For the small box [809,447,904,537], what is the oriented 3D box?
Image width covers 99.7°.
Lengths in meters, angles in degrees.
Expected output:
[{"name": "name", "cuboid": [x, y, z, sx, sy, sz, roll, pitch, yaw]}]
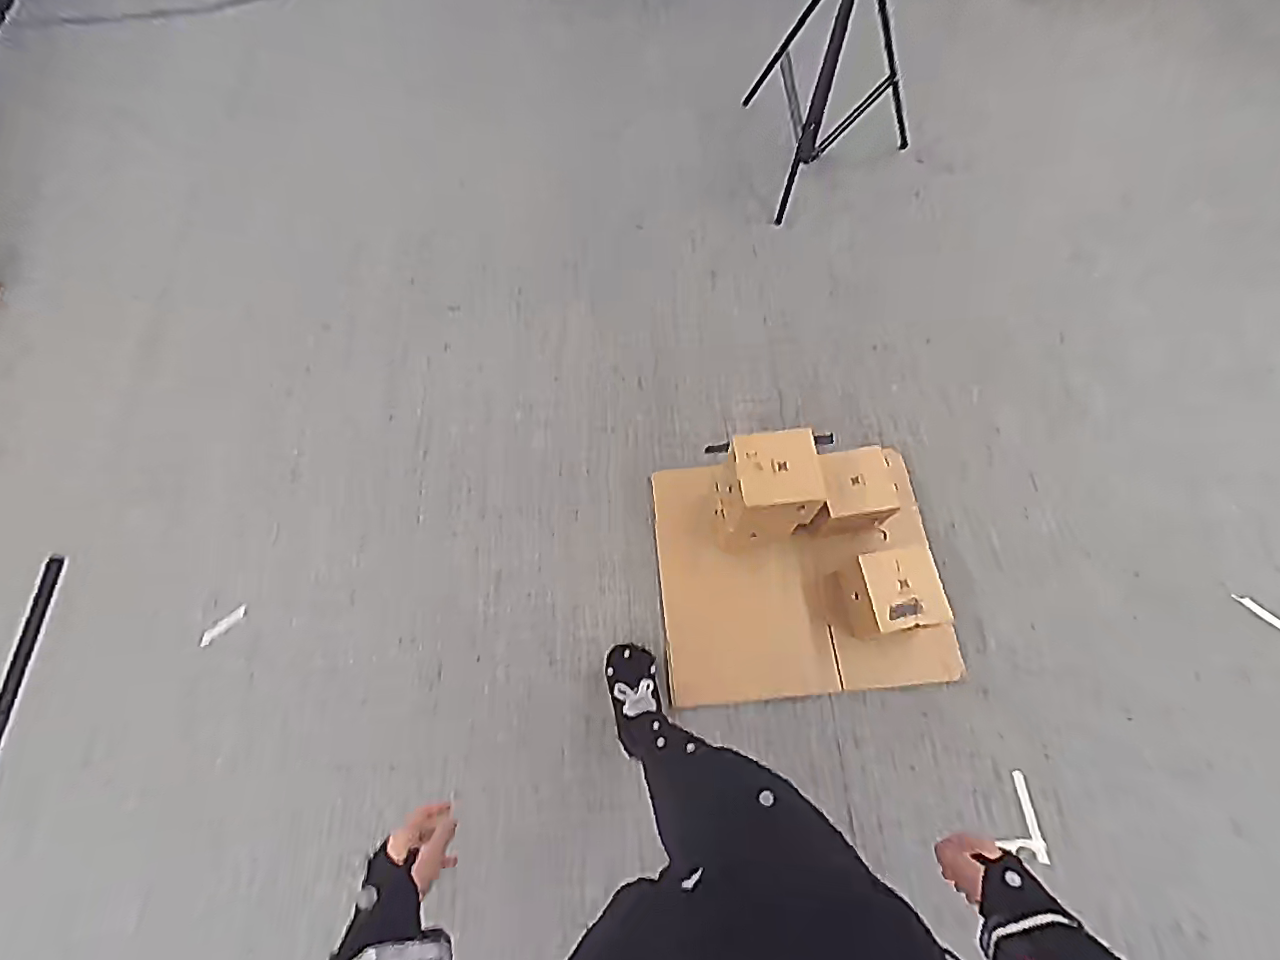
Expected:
[{"name": "small box", "cuboid": [0.524, 0.034, 1.363, 0.179, 0.176, 0.168, -10, 68, 0]}]

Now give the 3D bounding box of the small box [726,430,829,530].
[{"name": "small box", "cuboid": [0.297, 0.004, 1.205, 0.179, 0.176, 0.168, -6, 67, 1]}]

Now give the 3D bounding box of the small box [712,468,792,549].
[{"name": "small box", "cuboid": [0.281, 0.067, 1.359, 0.179, 0.176, 0.168, -10, 69, 0]}]

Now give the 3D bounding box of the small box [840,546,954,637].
[{"name": "small box", "cuboid": [0.590, 0.268, 1.266, 0.168, 0.176, 0.179, -9, 68, 0]}]
